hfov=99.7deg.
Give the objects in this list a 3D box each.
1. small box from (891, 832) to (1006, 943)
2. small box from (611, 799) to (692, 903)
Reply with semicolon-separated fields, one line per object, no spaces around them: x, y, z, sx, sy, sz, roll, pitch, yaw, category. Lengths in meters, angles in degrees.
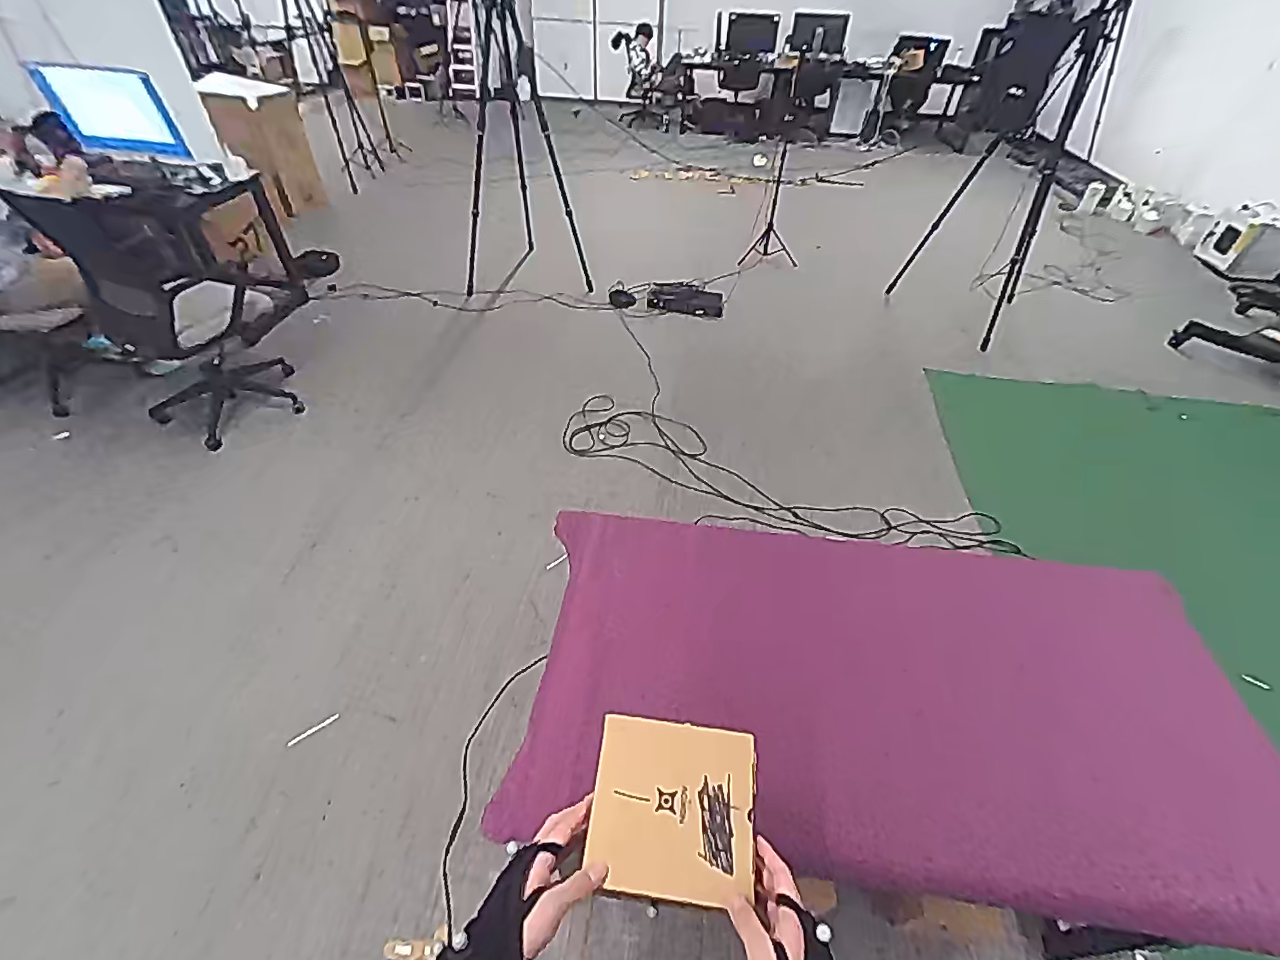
0.703;0.953;1.261;0.179;0.176;0.168;7;45;7;small box
0.029;0.896;1.302;0.179;0.176;0.168;6;44;4;small box
